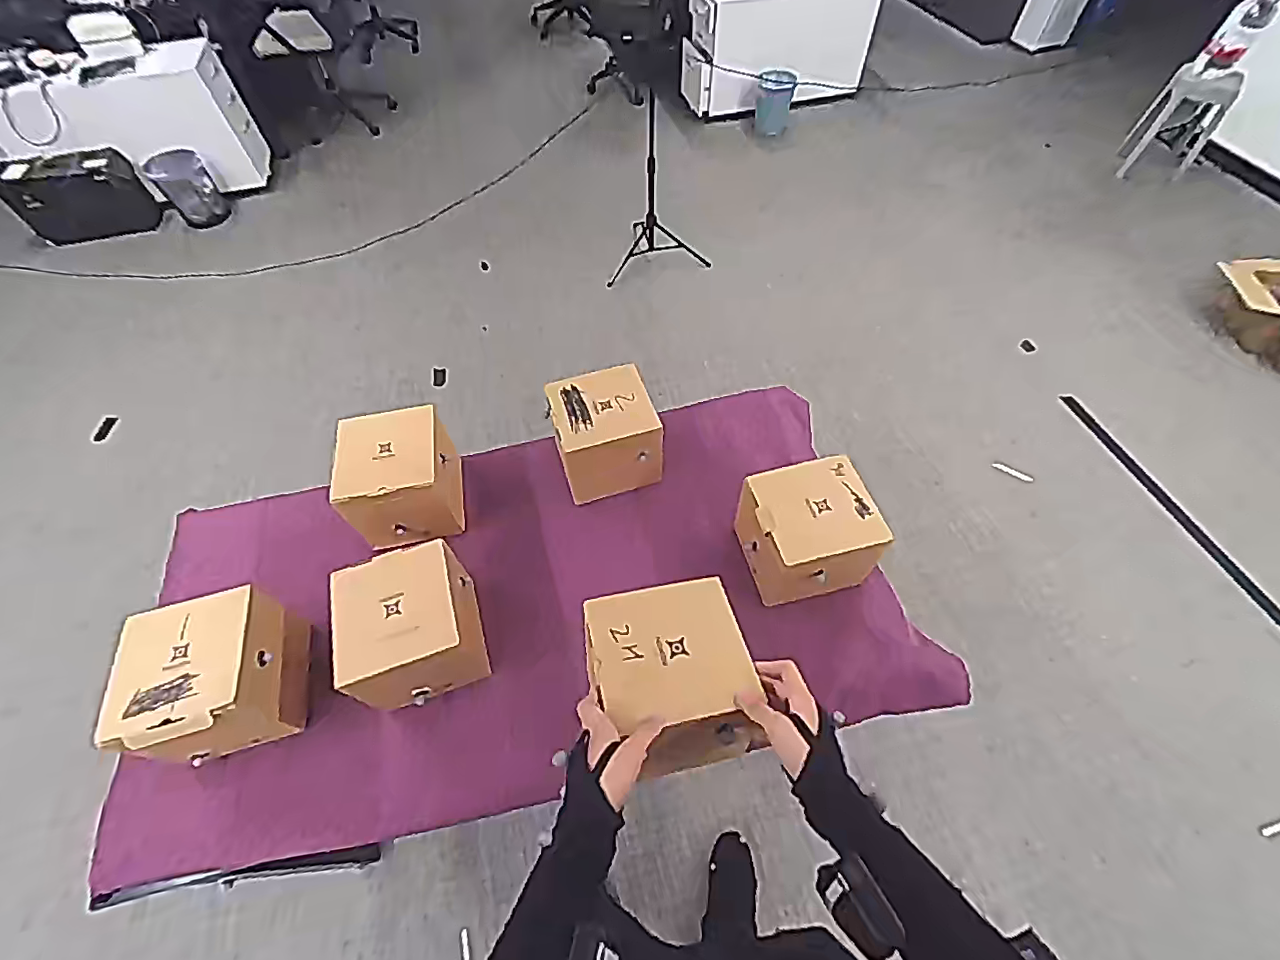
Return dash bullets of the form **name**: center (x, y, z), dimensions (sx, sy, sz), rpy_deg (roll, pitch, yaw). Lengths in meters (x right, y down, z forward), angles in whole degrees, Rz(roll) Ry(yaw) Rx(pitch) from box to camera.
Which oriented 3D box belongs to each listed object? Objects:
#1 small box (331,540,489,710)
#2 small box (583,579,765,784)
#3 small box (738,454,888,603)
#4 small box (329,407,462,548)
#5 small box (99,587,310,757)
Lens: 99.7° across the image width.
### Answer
- **small box**: center (-0.345, 0.224, 0.823), dimensions (0.168, 0.176, 0.179), rpy_deg (-18, 58, -9)
- **small box**: center (0.029, 0.247, 0.665), dimensions (0.179, 0.176, 0.168), rpy_deg (-8, 46, -10)
- **small box**: center (0.269, 0.086, 0.894), dimensions (0.179, 0.176, 0.168), rpy_deg (-13, 57, -5)
- **small box**: center (-0.427, -0.002, 0.972), dimensions (0.168, 0.176, 0.179), rpy_deg (-11, 57, -6)
- **small box**: center (-0.609, 0.286, 0.787), dimensions (0.168, 0.176, 0.179), rpy_deg (-15, 56, -9)
